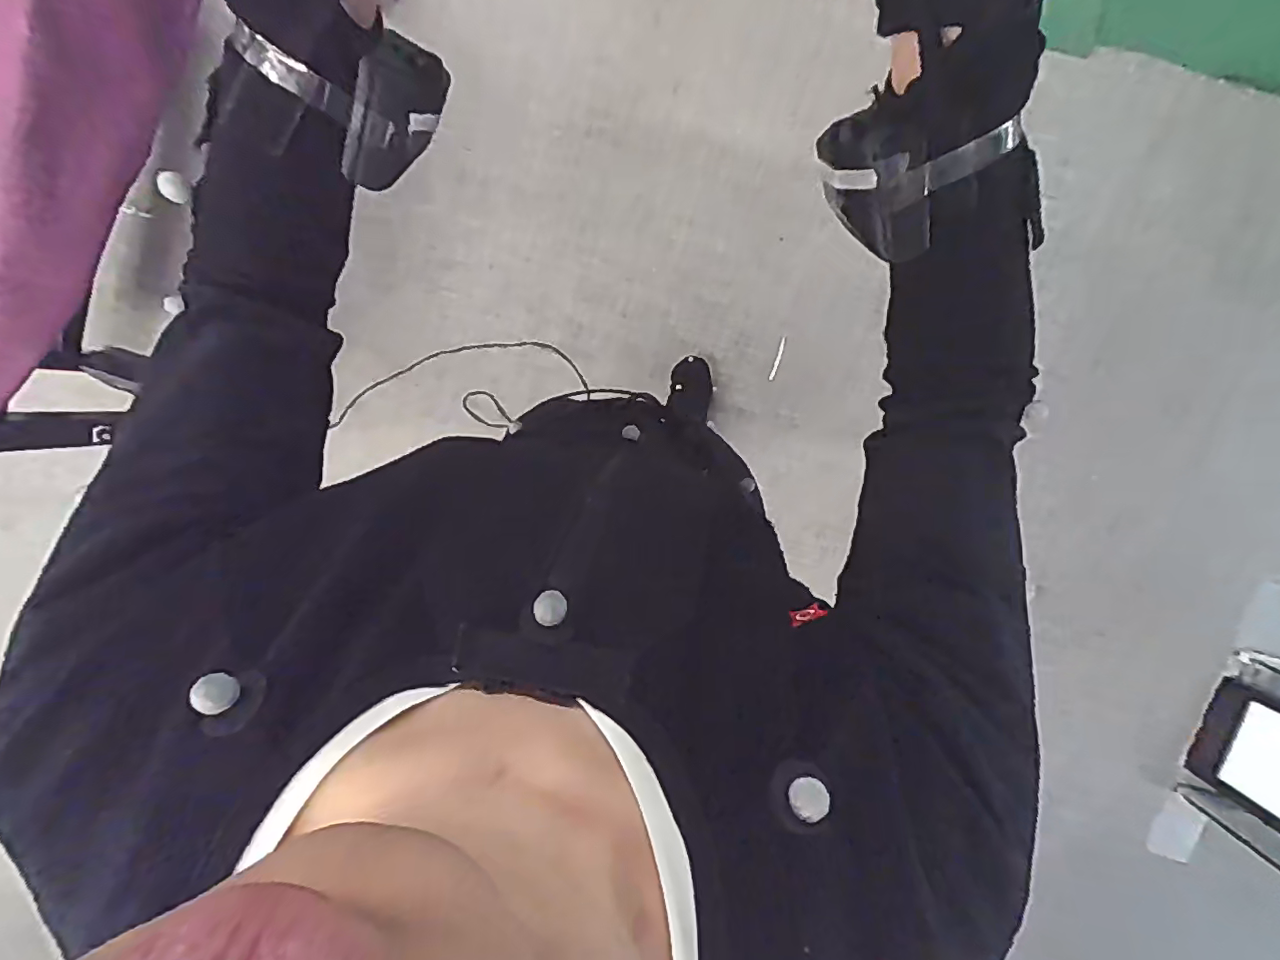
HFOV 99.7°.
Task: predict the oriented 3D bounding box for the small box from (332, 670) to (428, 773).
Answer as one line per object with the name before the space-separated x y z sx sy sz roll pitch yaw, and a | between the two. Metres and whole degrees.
small box | -0.712 0.662 1.496 0.168 0.176 0.179 17 98 0
